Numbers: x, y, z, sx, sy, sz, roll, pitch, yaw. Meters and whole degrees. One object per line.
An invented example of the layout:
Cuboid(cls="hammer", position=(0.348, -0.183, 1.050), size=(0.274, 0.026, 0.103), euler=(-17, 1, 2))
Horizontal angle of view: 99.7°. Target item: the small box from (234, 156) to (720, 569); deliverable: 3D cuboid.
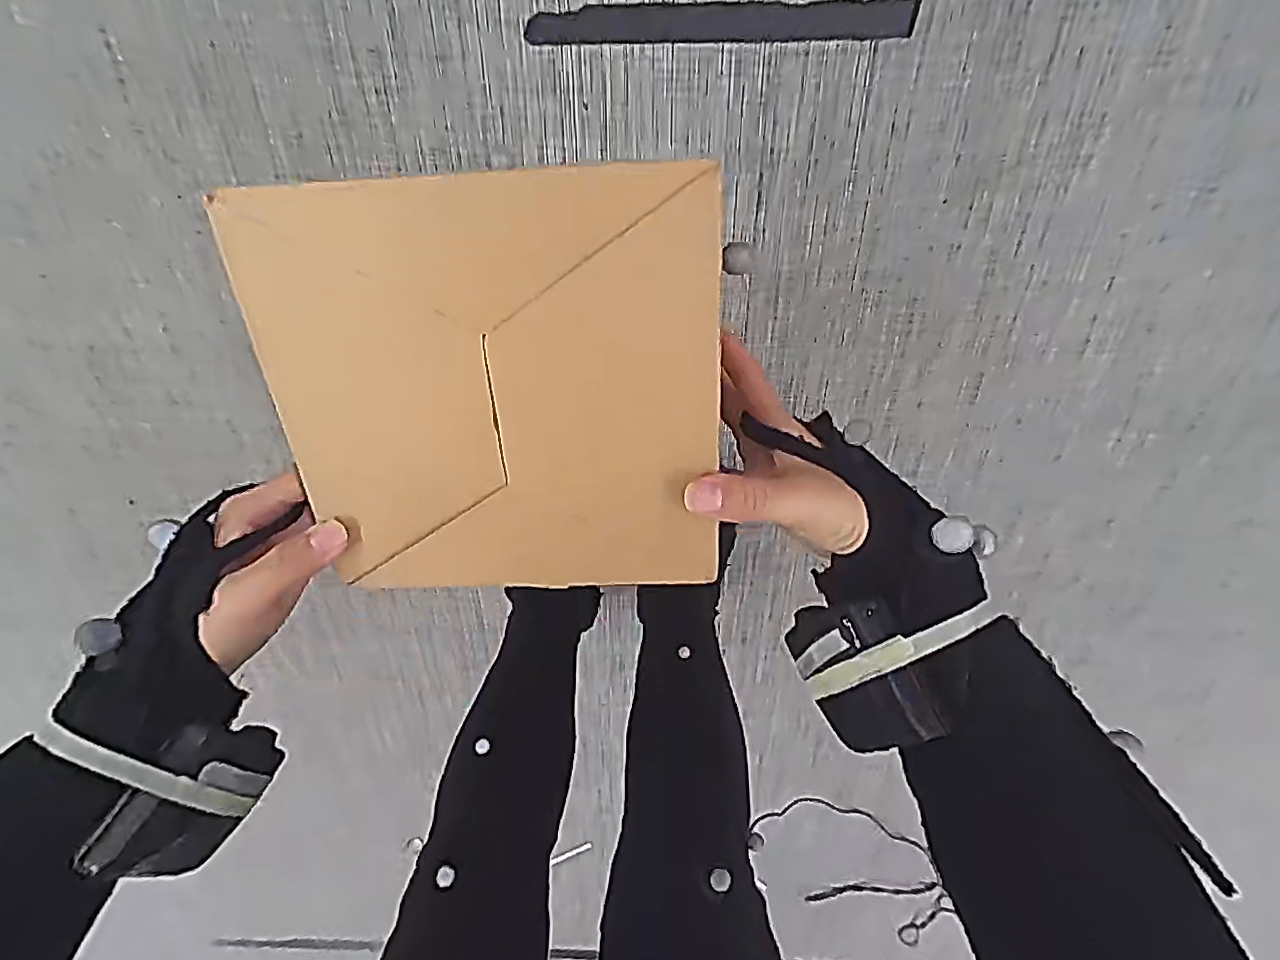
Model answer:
Cuboid(cls="small box", position=(-0.050, -0.067, 0.286), size=(0.179, 0.176, 0.168), euler=(-2, 117, 3))
